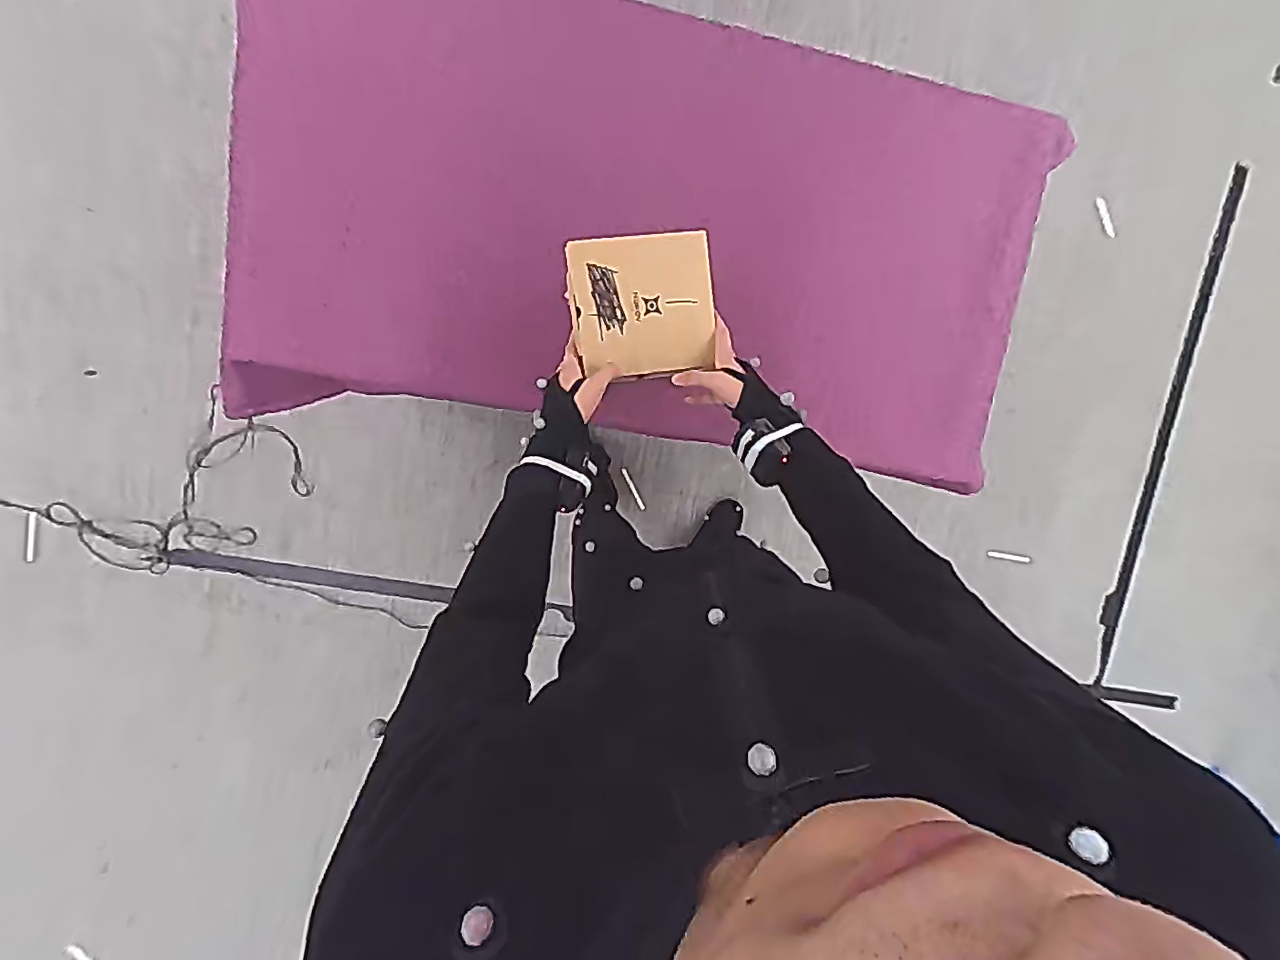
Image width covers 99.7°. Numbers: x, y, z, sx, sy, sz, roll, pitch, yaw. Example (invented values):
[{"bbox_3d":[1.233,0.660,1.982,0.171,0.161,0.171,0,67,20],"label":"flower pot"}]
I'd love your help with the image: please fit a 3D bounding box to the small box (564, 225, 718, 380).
[{"bbox_3d":[-0.001,-0.230,0.741,0.179,0.176,0.168,-8,99,-3],"label":"small box"}]
